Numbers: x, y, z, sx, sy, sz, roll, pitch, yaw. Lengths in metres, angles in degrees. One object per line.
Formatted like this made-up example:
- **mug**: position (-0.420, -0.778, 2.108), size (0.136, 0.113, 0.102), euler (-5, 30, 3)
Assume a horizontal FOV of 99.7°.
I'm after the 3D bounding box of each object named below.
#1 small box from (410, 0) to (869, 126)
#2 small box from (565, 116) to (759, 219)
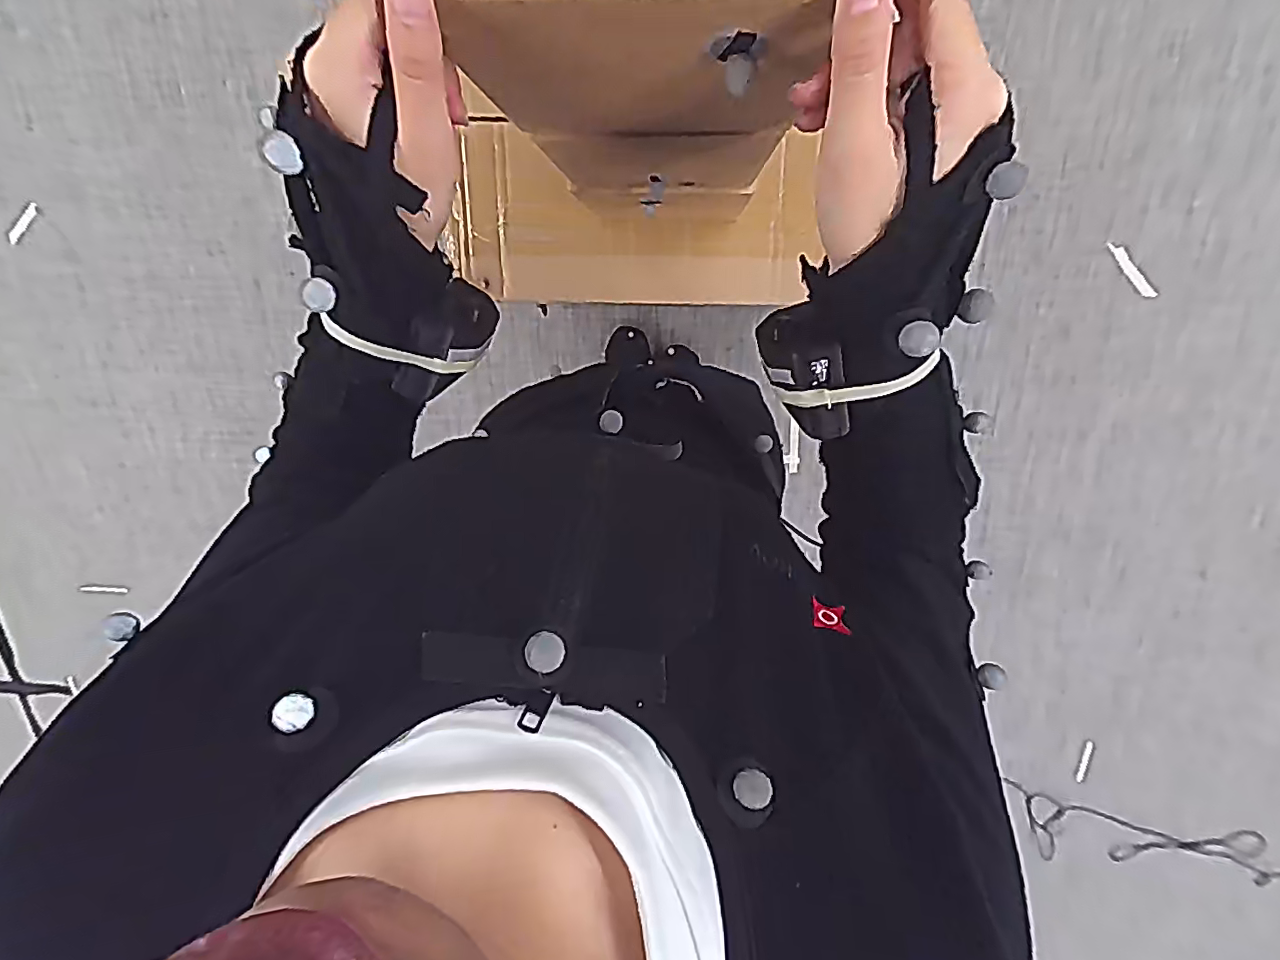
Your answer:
- **small box**: position (0.004, -0.274, 0.236), size (0.179, 0.176, 0.168), euler (2, 108, 4)
- **small box**: position (0.025, -0.369, 0.551), size (0.179, 0.176, 0.168), euler (2, 108, 3)
